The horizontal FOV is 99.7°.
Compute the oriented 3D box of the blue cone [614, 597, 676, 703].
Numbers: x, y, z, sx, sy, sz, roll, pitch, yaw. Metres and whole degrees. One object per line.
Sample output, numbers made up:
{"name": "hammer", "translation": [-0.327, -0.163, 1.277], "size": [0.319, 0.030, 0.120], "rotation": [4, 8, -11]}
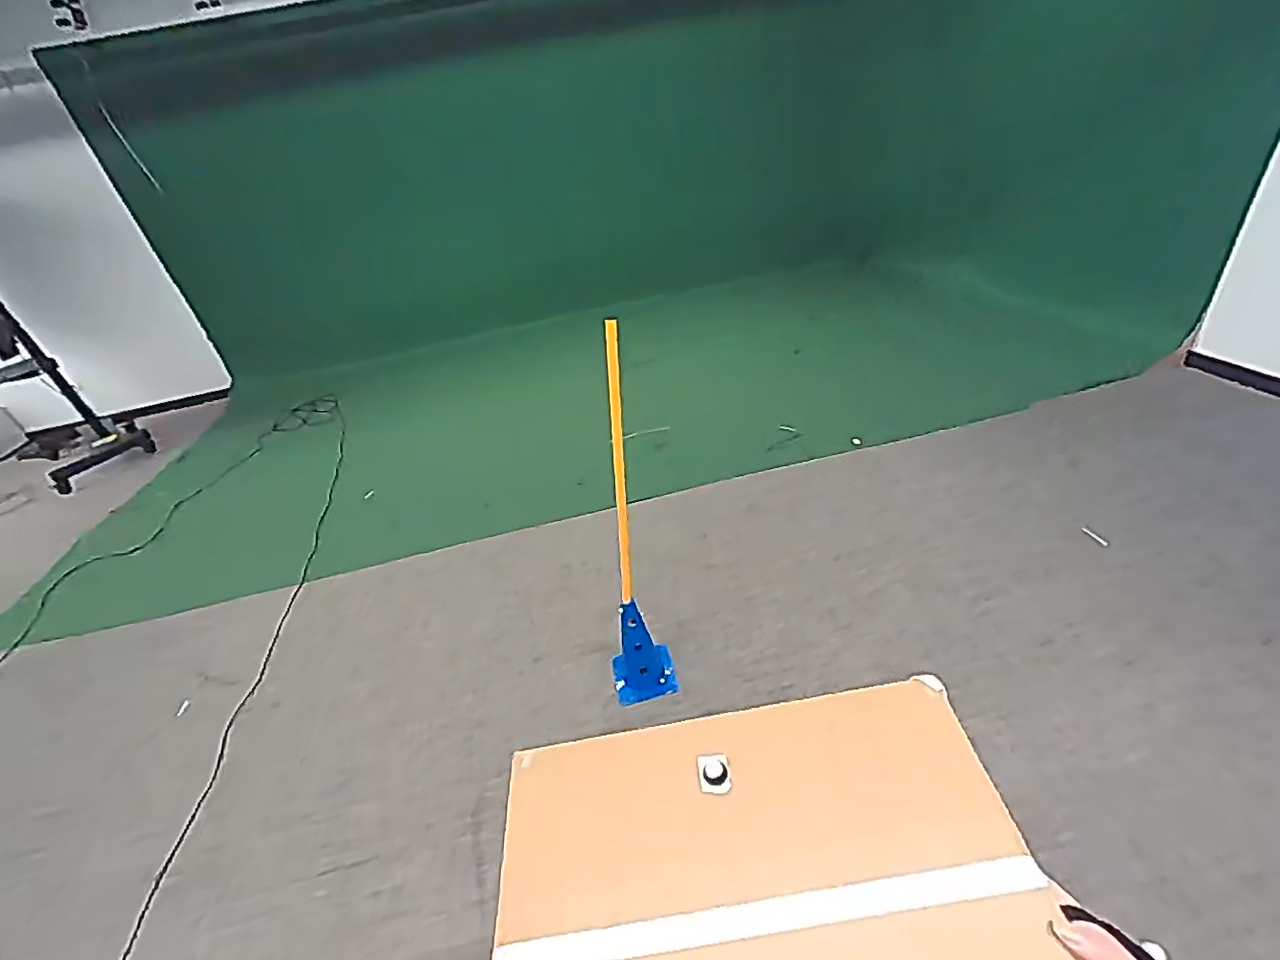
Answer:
{"name": "blue cone", "translation": [-0.009, 0.510, 1.720], "size": [0.193, 0.380, 0.192], "rotation": [-13, 34, -7]}
